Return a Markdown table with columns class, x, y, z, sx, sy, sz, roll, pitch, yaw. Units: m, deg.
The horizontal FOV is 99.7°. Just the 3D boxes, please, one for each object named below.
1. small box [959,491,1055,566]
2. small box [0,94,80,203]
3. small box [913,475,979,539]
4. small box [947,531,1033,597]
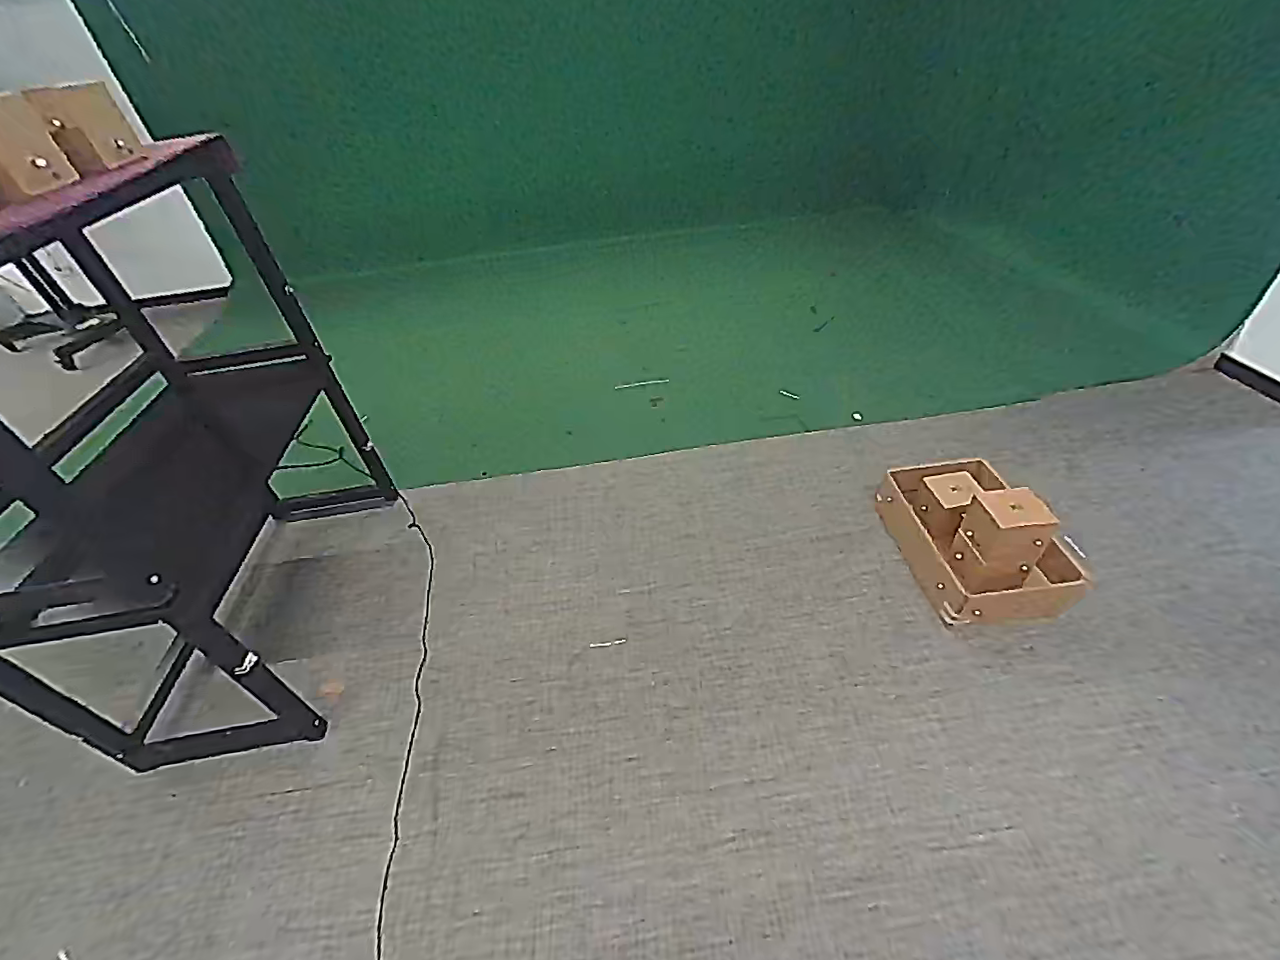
| class | x | y | z | sx | sy | sz | roll | pitch | yaw |
| --- | --- | --- | --- | --- | --- | --- | --- | --- | --- |
| small box | 1.163 | 0.156 | 1.730 | 0.179 | 0.176 | 0.168 | -6 | 39 | 1 |
| small box | -1.350 | -0.677 | 1.116 | 0.179 | 0.176 | 0.168 | -8 | 41 | -1 |
| small box | 1.153 | 0.106 | 2.030 | 0.179 | 0.176 | 0.168 | -8 | 42 | -1 |
| small box | 1.174 | 0.280 | 1.836 | 0.179 | 0.176 | 0.168 | -7 | 41 | -1 |
